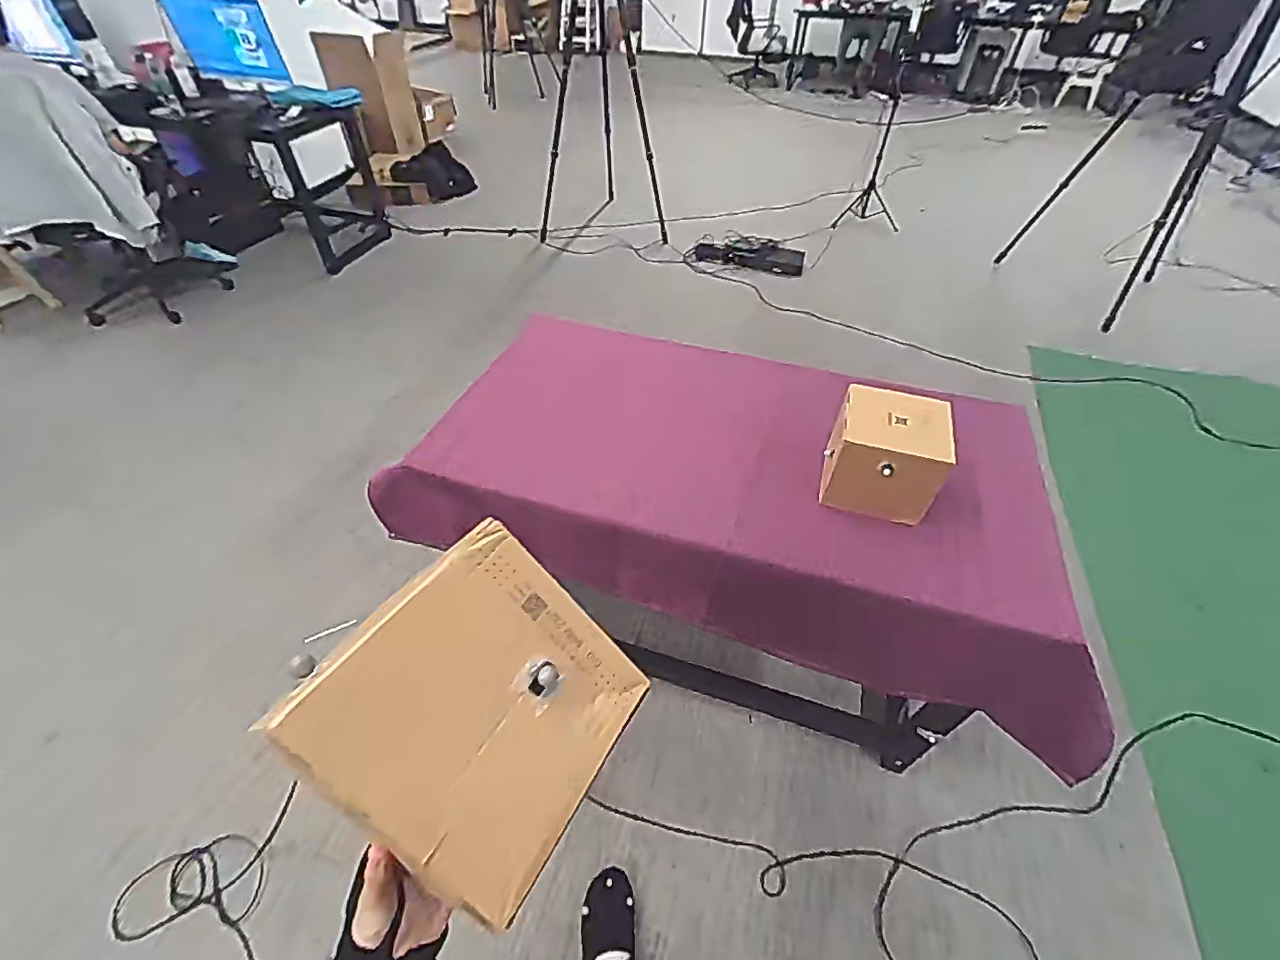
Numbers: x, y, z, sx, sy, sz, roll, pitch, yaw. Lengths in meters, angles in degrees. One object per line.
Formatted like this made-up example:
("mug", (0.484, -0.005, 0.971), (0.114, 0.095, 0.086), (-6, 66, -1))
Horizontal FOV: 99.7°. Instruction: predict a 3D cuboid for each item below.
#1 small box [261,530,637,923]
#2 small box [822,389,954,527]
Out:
("small box", (-0.133, 0.165, 0.397), (0.168, 0.179, 0.176), (49, 46, -9))
("small box", (0.442, -0.038, 0.983), (0.179, 0.176, 0.168), (14, 48, 12))
